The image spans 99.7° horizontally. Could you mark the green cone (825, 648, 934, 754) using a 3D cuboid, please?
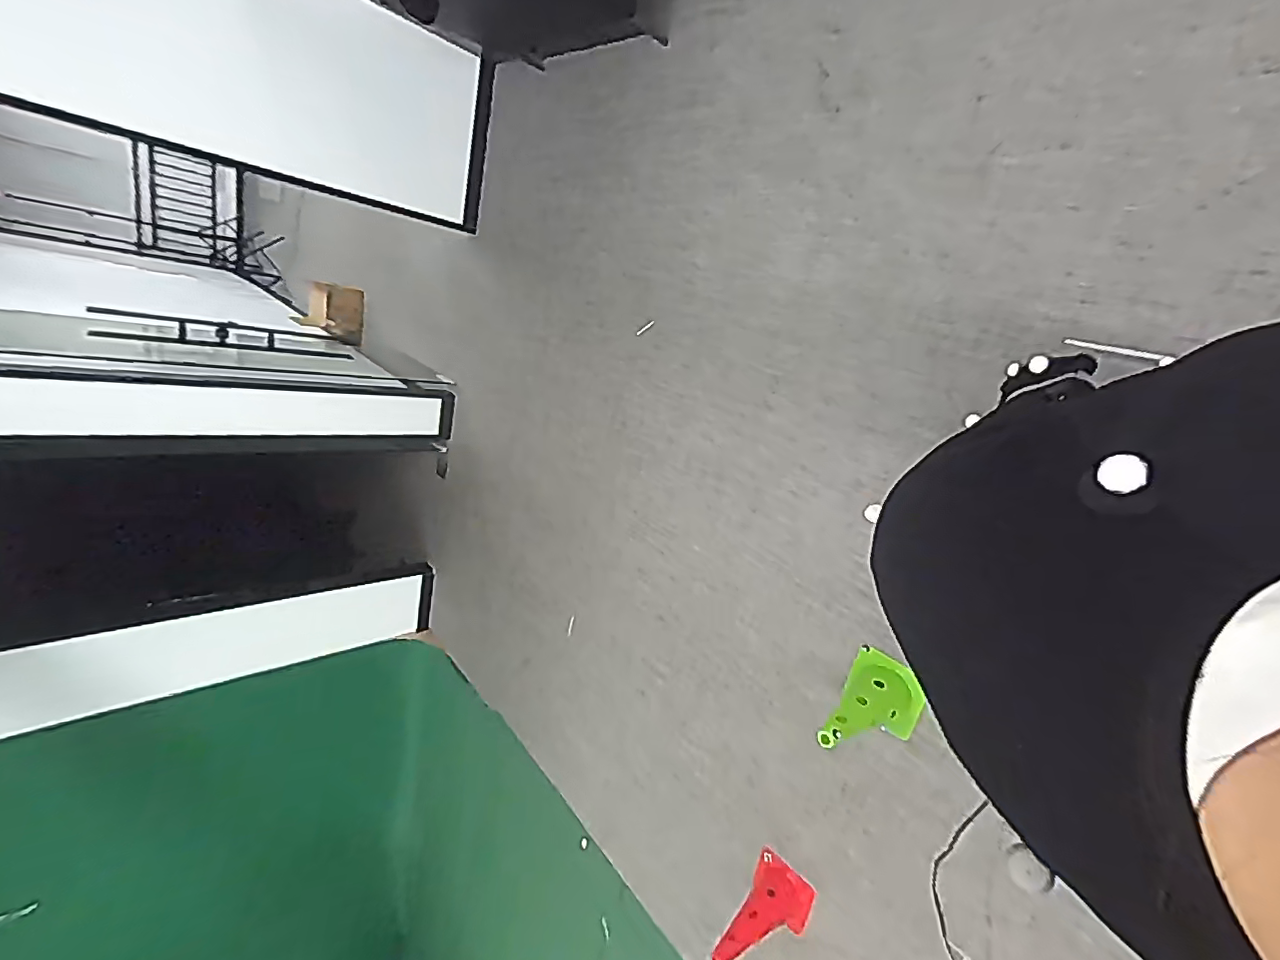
[{"bbox_3d":[0.569,0.609,1.386,0.202,0.368,0.200,27,112,40],"label":"green cone"}]

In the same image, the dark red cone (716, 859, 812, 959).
[{"bbox_3d":[0.341,1.382,1.645,0.202,0.394,0.201,23,110,43],"label":"dark red cone"}]
